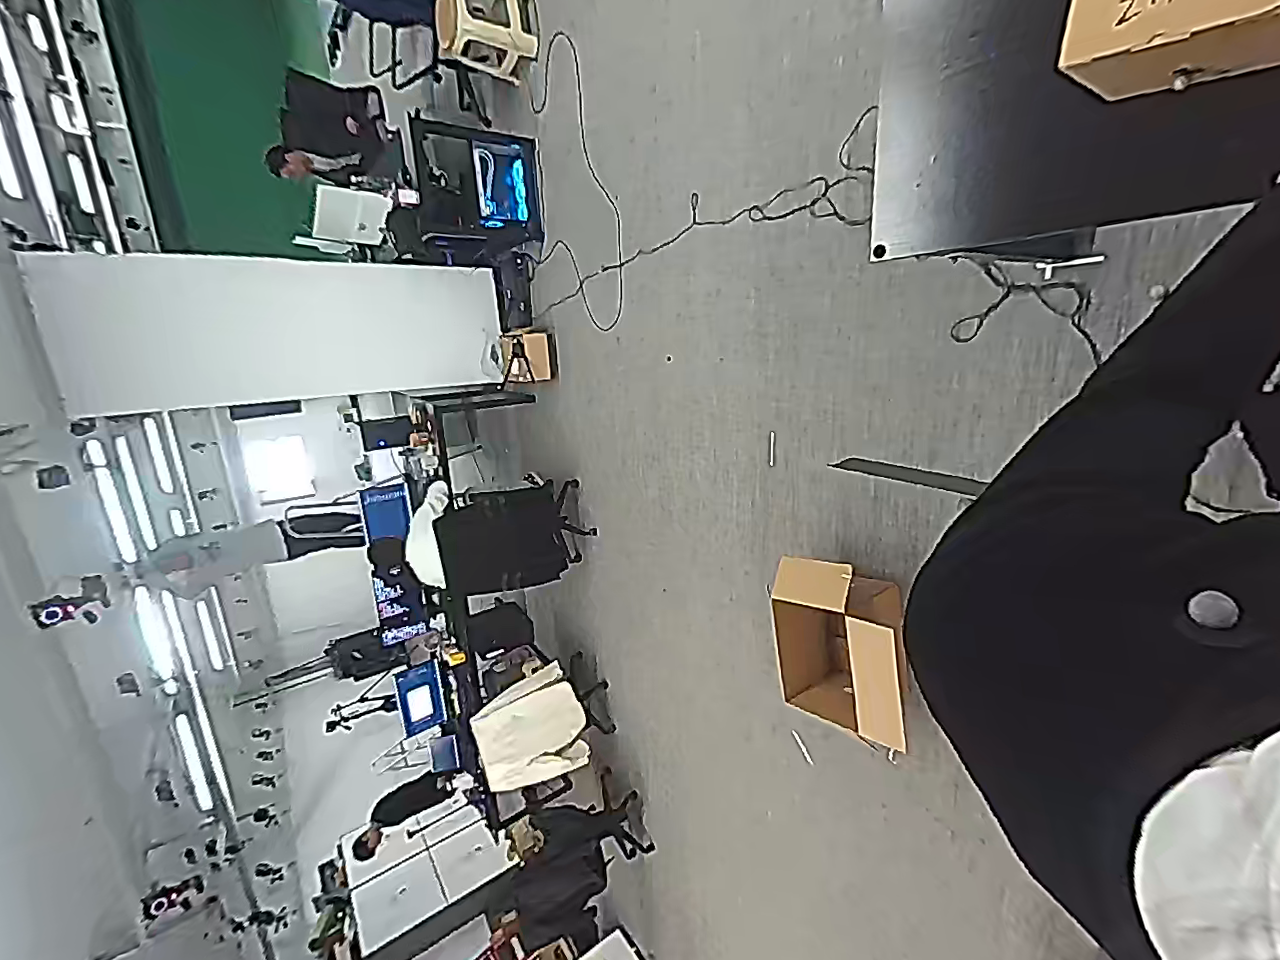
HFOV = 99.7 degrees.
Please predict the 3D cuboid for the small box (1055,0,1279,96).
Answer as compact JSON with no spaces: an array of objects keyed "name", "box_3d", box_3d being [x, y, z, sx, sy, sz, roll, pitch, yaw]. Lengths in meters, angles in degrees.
[{"name":"small box","box_3d":[0.553,-0.511,0.528,0.168,0.176,0.179,26,122,50]}]
